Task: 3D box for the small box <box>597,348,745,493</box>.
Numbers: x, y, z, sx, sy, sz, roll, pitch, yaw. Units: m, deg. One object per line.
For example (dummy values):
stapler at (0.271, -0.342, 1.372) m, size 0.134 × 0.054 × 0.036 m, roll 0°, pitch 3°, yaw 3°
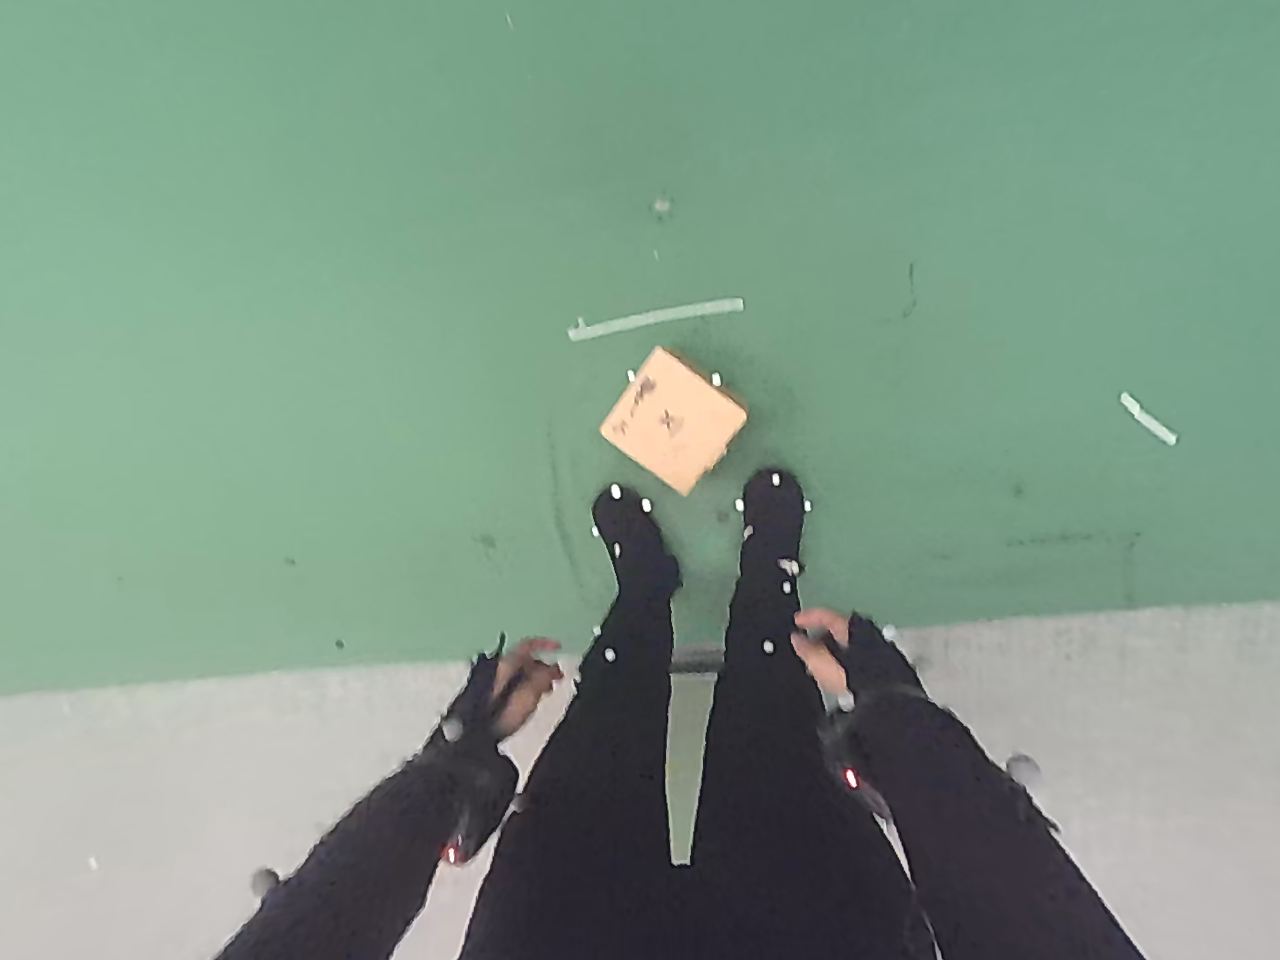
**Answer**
small box at (0.058, -0.111, 0.916) m, size 0.179 × 0.176 × 0.168 m, roll 37°, pitch 108°, yaw -3°
